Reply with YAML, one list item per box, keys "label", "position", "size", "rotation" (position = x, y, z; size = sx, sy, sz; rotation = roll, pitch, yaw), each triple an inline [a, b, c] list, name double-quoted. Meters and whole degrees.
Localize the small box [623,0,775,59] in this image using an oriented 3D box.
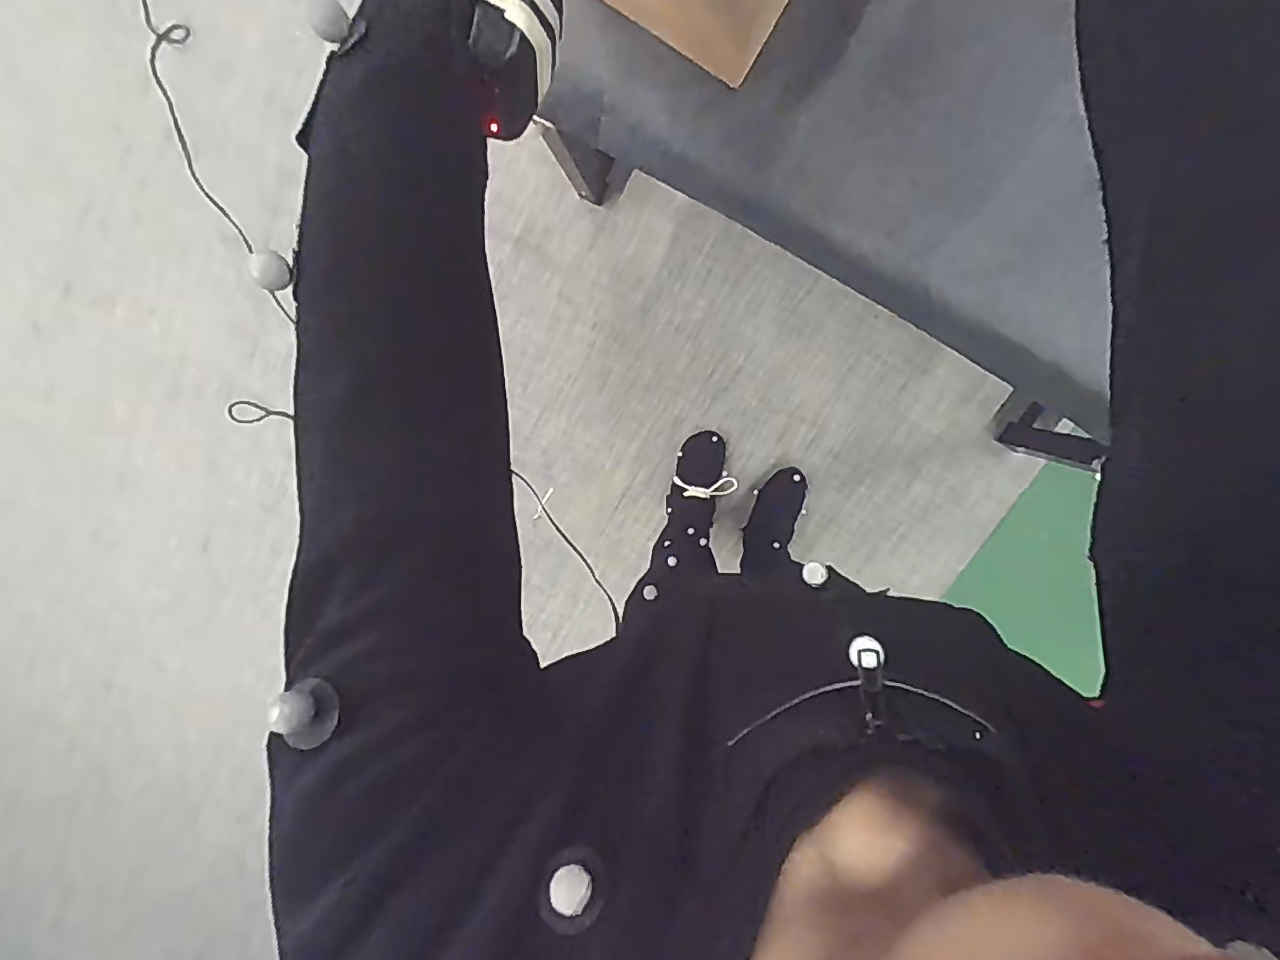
- label: "small box"
  position: [0.054, -0.468, 0.402]
  size: [0.179, 0.176, 0.168]
  rotation: [31, 101, -4]
